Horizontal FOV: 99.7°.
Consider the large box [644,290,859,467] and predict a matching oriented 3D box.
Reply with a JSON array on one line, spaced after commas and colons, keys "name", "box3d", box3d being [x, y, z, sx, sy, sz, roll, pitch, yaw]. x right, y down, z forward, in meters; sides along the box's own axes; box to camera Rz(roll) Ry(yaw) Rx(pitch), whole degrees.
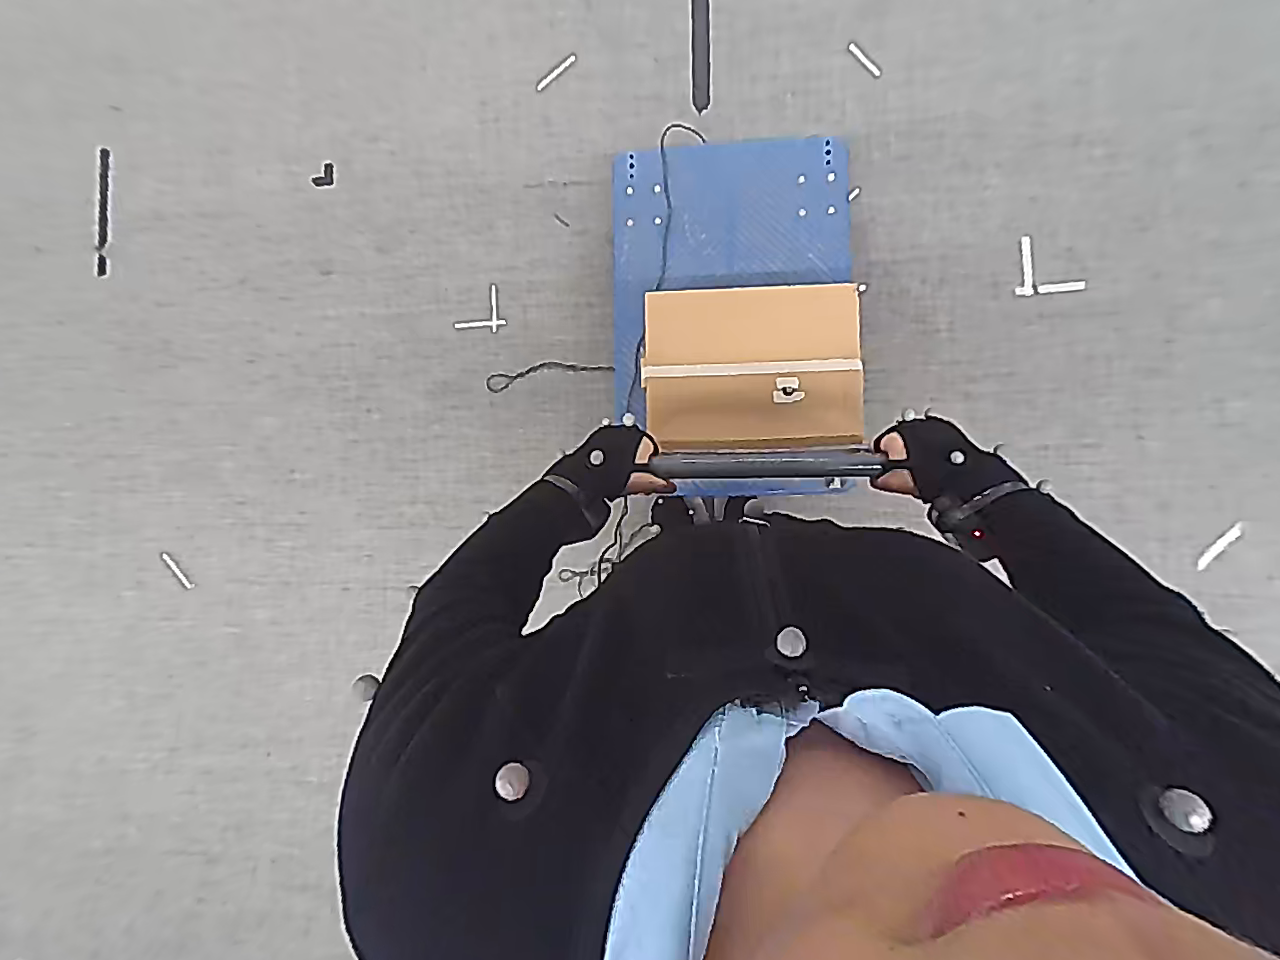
[{"name": "large box", "box3d": [0.219, -0.196, 1.177, 0.408, 0.320, 0.320, -1, 89, 4]}]
